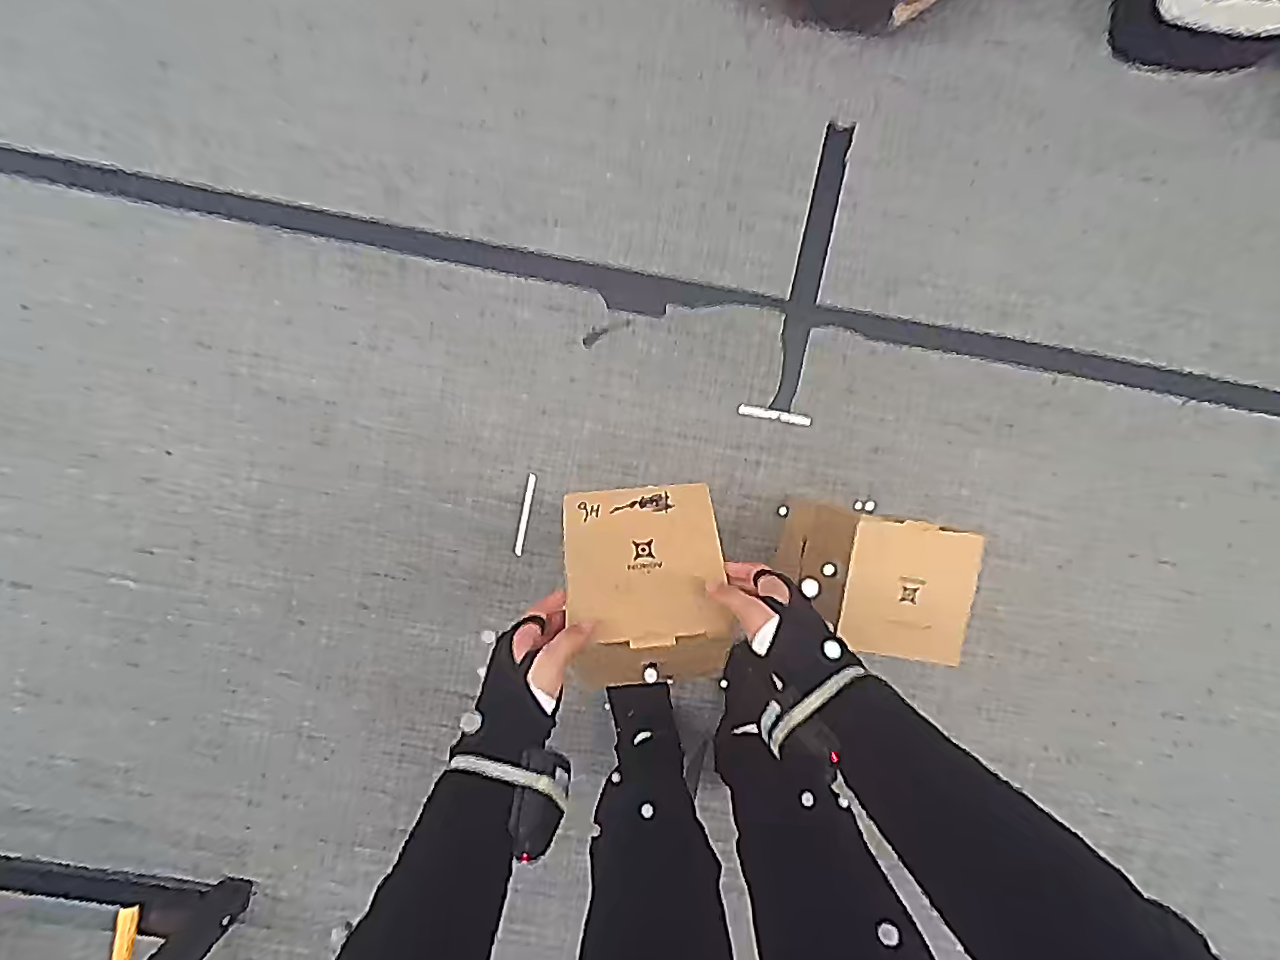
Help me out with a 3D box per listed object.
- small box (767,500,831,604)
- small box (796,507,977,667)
[{"bbox_3d":[0.336,0.134,0.935,0.179,0.176,0.168,14,93,-4],"label":"small box"},{"bbox_3d":[0.337,0.140,0.773,0.168,0.176,0.179,9,94,-1],"label":"small box"}]
